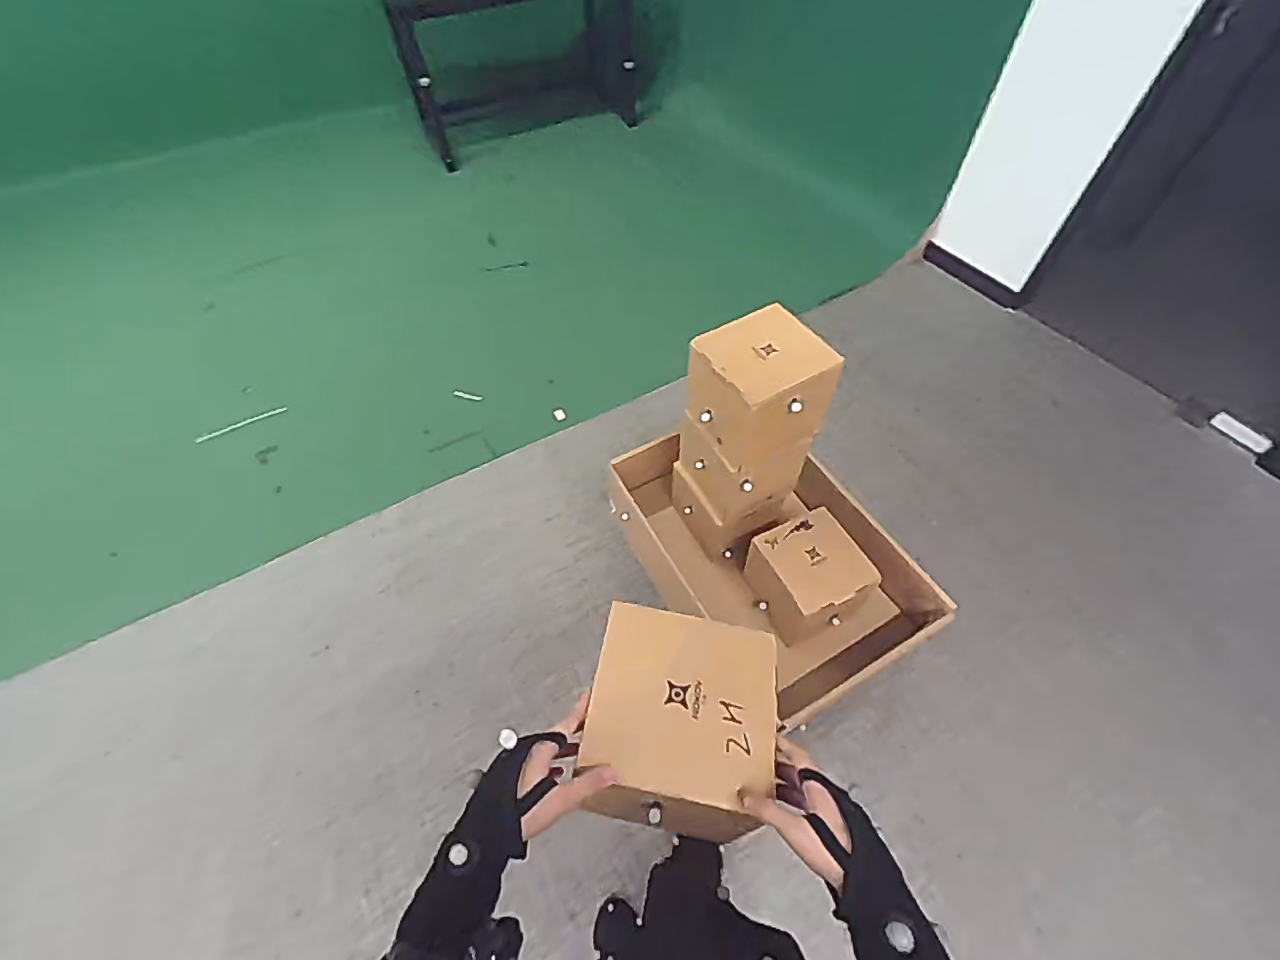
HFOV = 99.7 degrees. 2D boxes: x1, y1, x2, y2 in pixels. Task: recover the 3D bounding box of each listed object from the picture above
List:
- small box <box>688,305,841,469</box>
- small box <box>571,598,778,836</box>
[{"bbox_3d":[0.193,-0.152,0.898,0.179,0.176,0.168,-27,58,-15],"label":"small box"},{"bbox_3d":[0.032,0.250,0.563,0.179,0.176,0.168,13,50,2],"label":"small box"}]
